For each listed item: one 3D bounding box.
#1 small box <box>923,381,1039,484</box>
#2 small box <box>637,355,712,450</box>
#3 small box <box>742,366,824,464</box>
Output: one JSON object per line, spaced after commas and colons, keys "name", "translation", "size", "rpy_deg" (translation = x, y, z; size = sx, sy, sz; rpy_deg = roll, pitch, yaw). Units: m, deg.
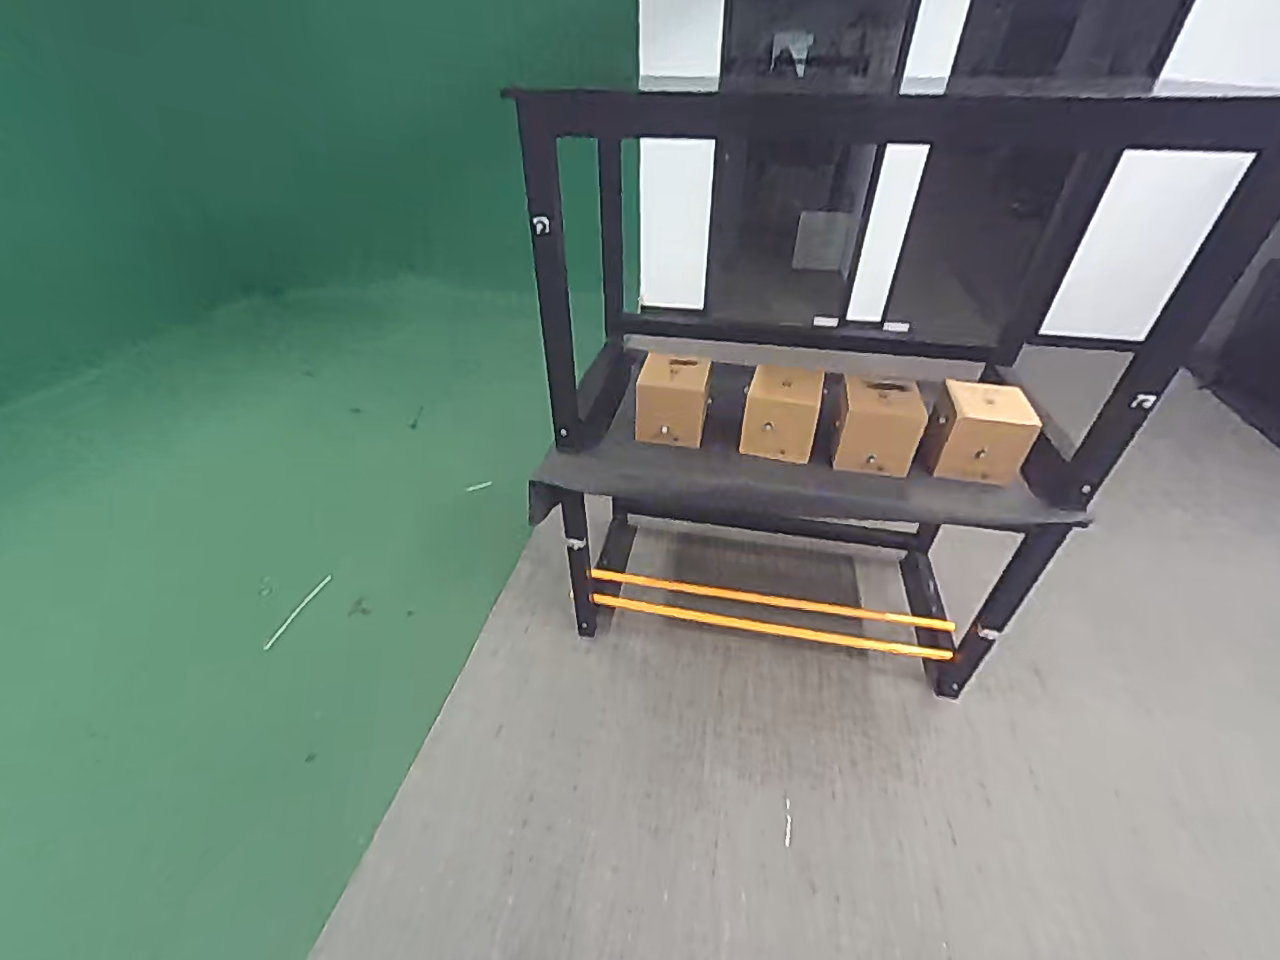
{"name": "small box", "translation": [0.782, -0.110, 1.262], "size": [0.168, 0.176, 0.179], "rpy_deg": [9, 38, 11]}
{"name": "small box", "translation": [0.088, -0.199, 1.385], "size": [0.168, 0.176, 0.179], "rpy_deg": [7, 39, 9]}
{"name": "small box", "translation": [0.350, -0.160, 1.336], "size": [0.168, 0.176, 0.179], "rpy_deg": [11, 39, 14]}
